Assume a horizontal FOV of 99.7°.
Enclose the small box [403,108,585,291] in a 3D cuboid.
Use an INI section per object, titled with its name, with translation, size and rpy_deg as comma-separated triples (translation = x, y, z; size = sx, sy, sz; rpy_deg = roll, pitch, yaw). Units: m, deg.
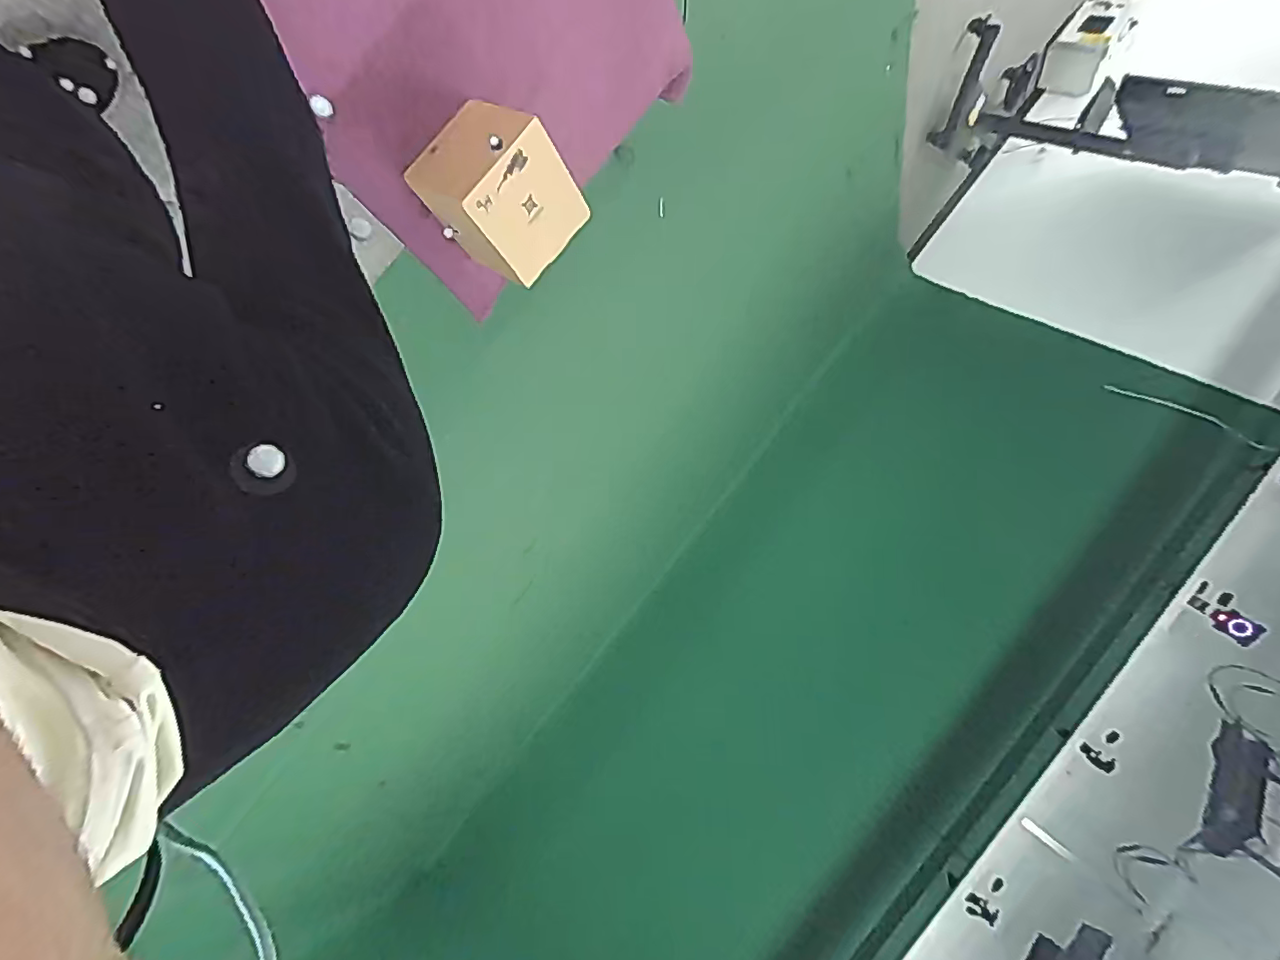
[small box]
translation = -0.225, -0.440, 0.849
size = 0.168, 0.176, 0.179
rpy_deg = -52, 150, -5
